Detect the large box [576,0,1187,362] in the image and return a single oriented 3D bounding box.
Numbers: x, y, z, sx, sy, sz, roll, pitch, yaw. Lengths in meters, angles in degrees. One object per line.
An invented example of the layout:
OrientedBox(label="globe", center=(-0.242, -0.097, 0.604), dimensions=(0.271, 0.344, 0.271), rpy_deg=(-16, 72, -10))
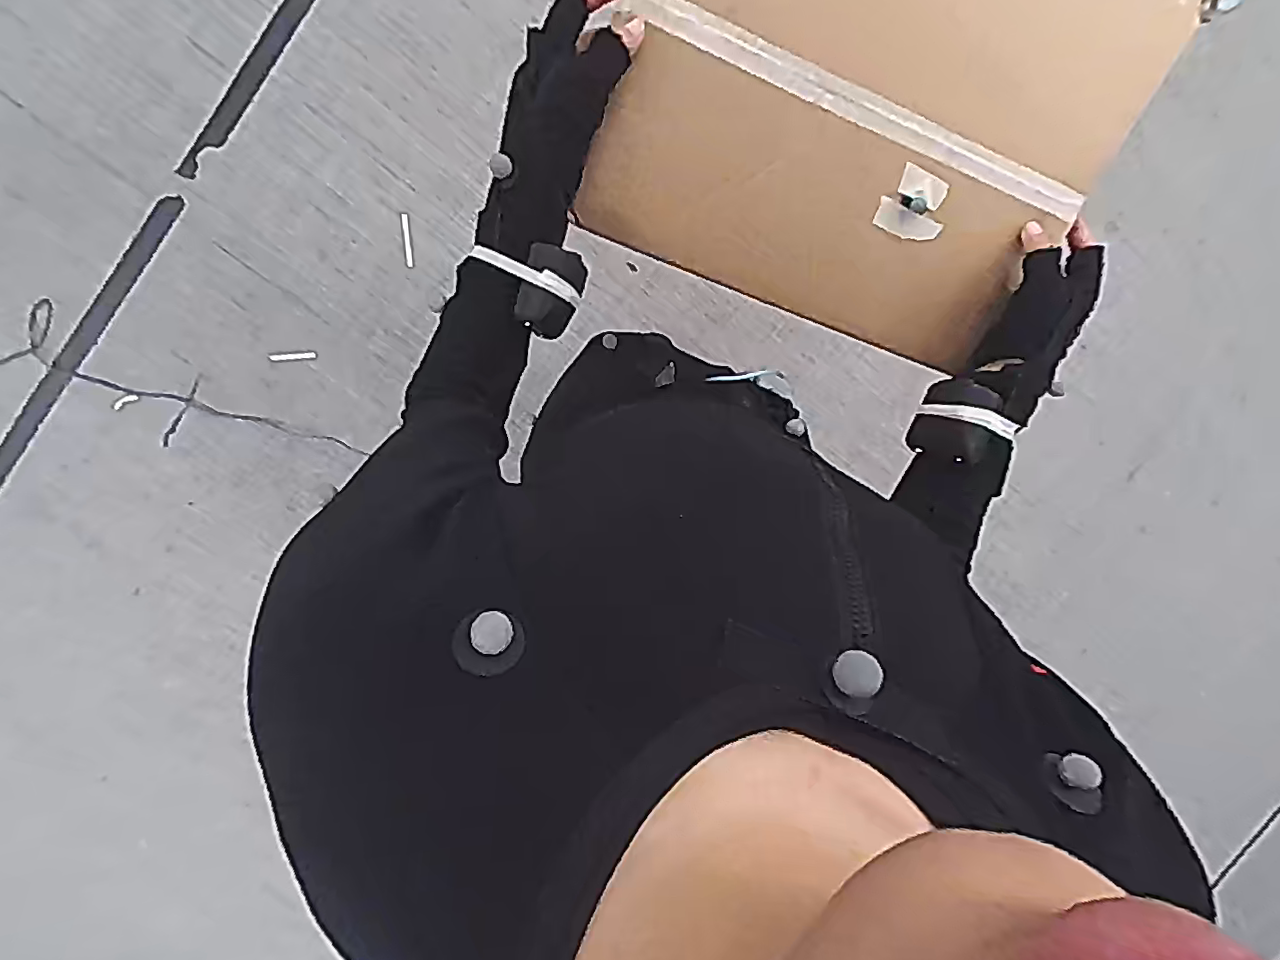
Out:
OrientedBox(label="large box", center=(0.173, -0.369, 0.566), dimensions=(0.408, 0.320, 0.320), rpy_deg=(18, 117, -12))
